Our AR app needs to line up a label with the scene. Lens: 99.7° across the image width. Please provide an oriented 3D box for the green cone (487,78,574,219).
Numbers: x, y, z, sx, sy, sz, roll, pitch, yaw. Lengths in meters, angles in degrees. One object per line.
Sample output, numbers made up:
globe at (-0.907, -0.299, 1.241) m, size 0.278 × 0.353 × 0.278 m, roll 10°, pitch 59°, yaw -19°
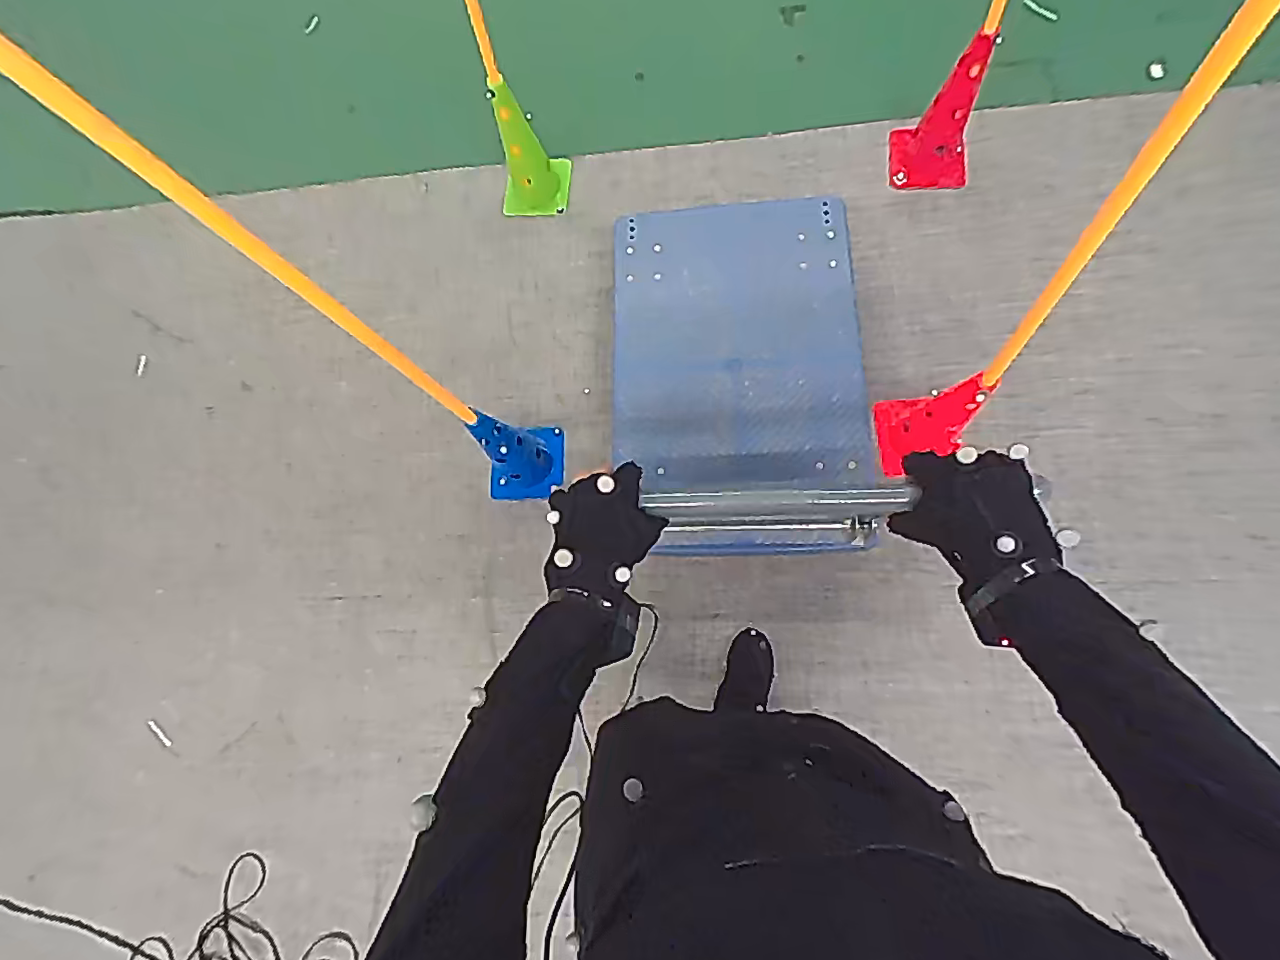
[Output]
green cone at (-0.331, -0.940, 1.508) m, size 0.202 × 0.368 × 0.200 m, roll 2°, pitch 76°, yaw 8°

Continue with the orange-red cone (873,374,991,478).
orange-red cone at (0.673, -0.142, 1.198) m, size 0.199 × 0.360 × 0.198 m, roll -3°, pitch 76°, yaw 8°
